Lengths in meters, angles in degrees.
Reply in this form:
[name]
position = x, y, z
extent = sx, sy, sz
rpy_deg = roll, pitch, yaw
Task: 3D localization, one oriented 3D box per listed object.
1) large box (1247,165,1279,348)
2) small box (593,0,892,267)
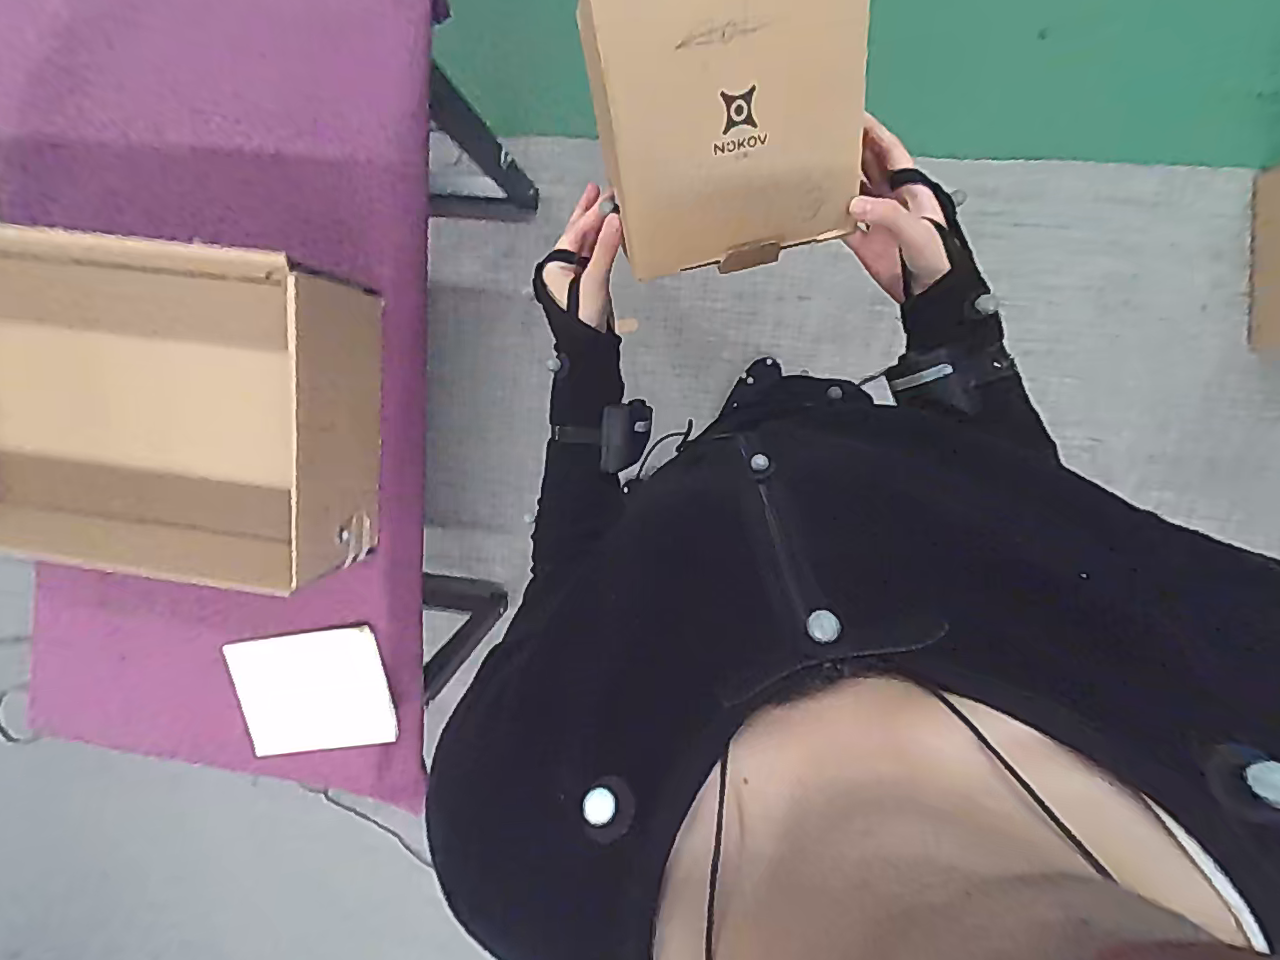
[large box]
position = 1.586, -0.516, 1.124
extent = 0.320, 0.320, 0.408
rpy_deg = -9, 97, 6
[small box]
position = 0.063, -0.281, 0.403
extent = 0.168, 0.176, 0.179
rpy_deg = -12, 124, -1
